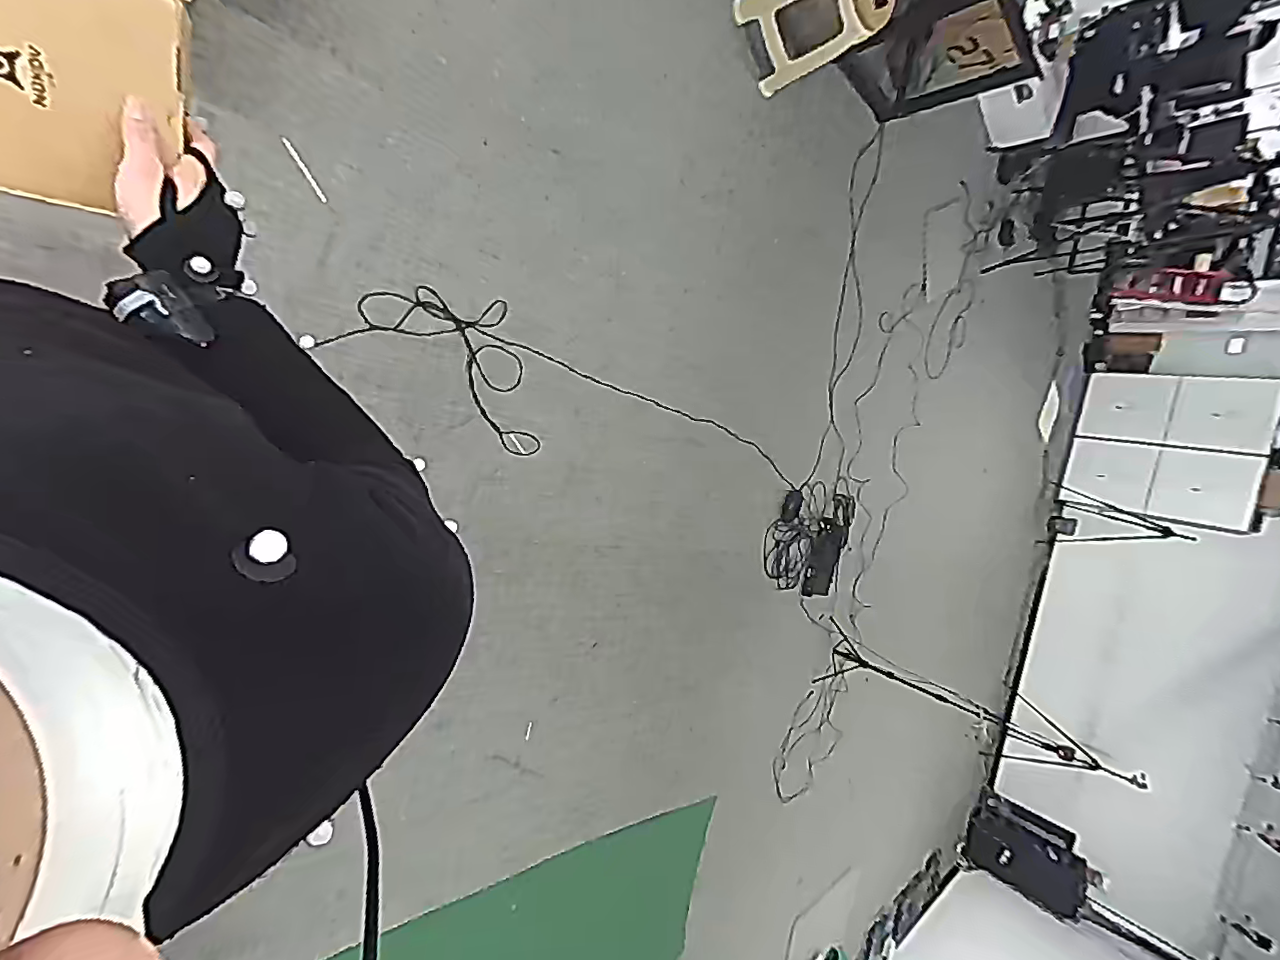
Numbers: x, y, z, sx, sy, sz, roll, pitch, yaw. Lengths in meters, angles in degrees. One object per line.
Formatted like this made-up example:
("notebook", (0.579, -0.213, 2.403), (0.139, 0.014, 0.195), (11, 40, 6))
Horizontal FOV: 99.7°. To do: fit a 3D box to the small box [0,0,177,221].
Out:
("small box", (-0.480, -0.330, 0.425), (0.179, 0.176, 0.168), (1, 120, -40))
